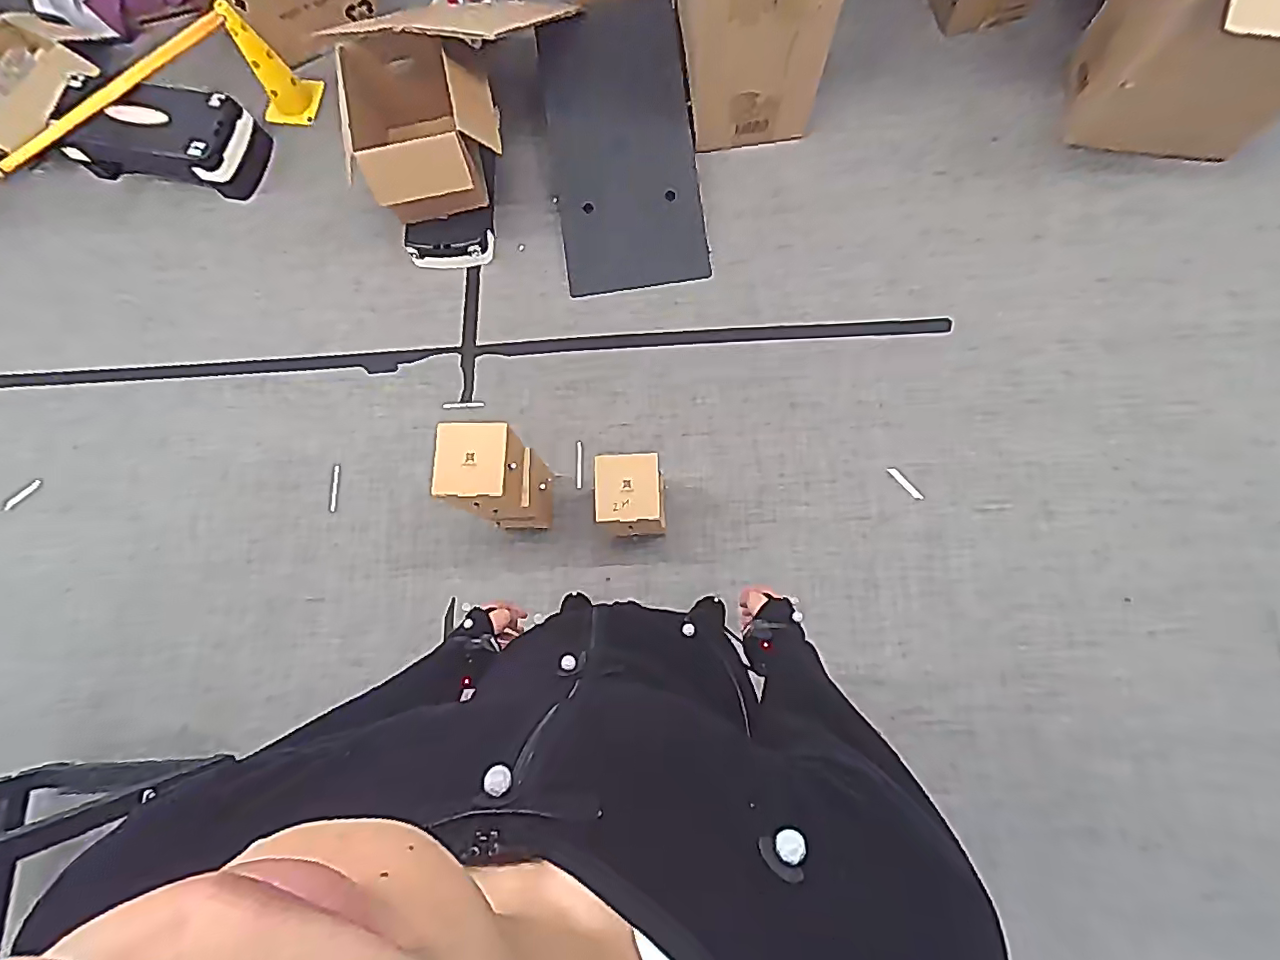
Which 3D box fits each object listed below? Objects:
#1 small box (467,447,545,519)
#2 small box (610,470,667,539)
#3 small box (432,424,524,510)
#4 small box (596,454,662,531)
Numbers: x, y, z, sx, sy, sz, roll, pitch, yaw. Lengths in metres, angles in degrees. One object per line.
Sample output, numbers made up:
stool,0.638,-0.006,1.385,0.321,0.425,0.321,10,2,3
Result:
small box,-0.365,0.013,1.467,0.179,0.176,0.168,-2,78,1
small box,-0.005,0.075,1.606,0.168,0.176,0.179,-4,78,3
small box,-0.383,-0.028,1.310,0.168,0.176,0.179,0,78,2
small box,-0.026,0.039,1.446,0.168,0.176,0.179,-3,78,4
